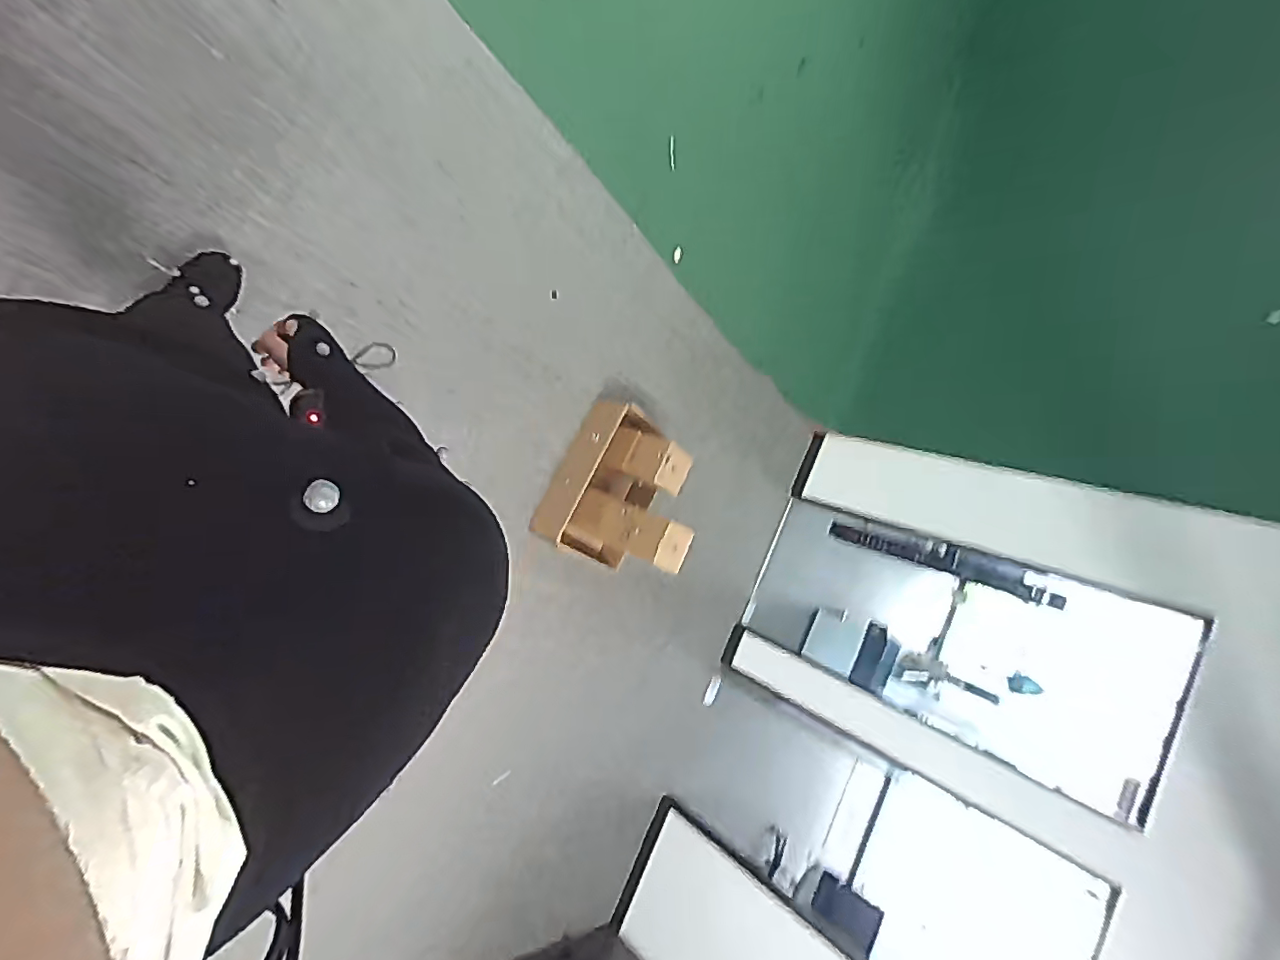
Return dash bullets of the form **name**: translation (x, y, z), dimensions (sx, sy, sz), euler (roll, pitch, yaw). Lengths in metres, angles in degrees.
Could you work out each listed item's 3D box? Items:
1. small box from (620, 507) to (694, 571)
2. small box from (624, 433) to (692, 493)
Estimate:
- **small box**: translation (0.061, 0.210, 1.955), dimensions (0.179, 0.176, 0.168), euler (32, 80, -49)
- **small box**: translation (0.069, -0.070, 2.108), dimensions (0.179, 0.176, 0.168), euler (34, 78, -50)
